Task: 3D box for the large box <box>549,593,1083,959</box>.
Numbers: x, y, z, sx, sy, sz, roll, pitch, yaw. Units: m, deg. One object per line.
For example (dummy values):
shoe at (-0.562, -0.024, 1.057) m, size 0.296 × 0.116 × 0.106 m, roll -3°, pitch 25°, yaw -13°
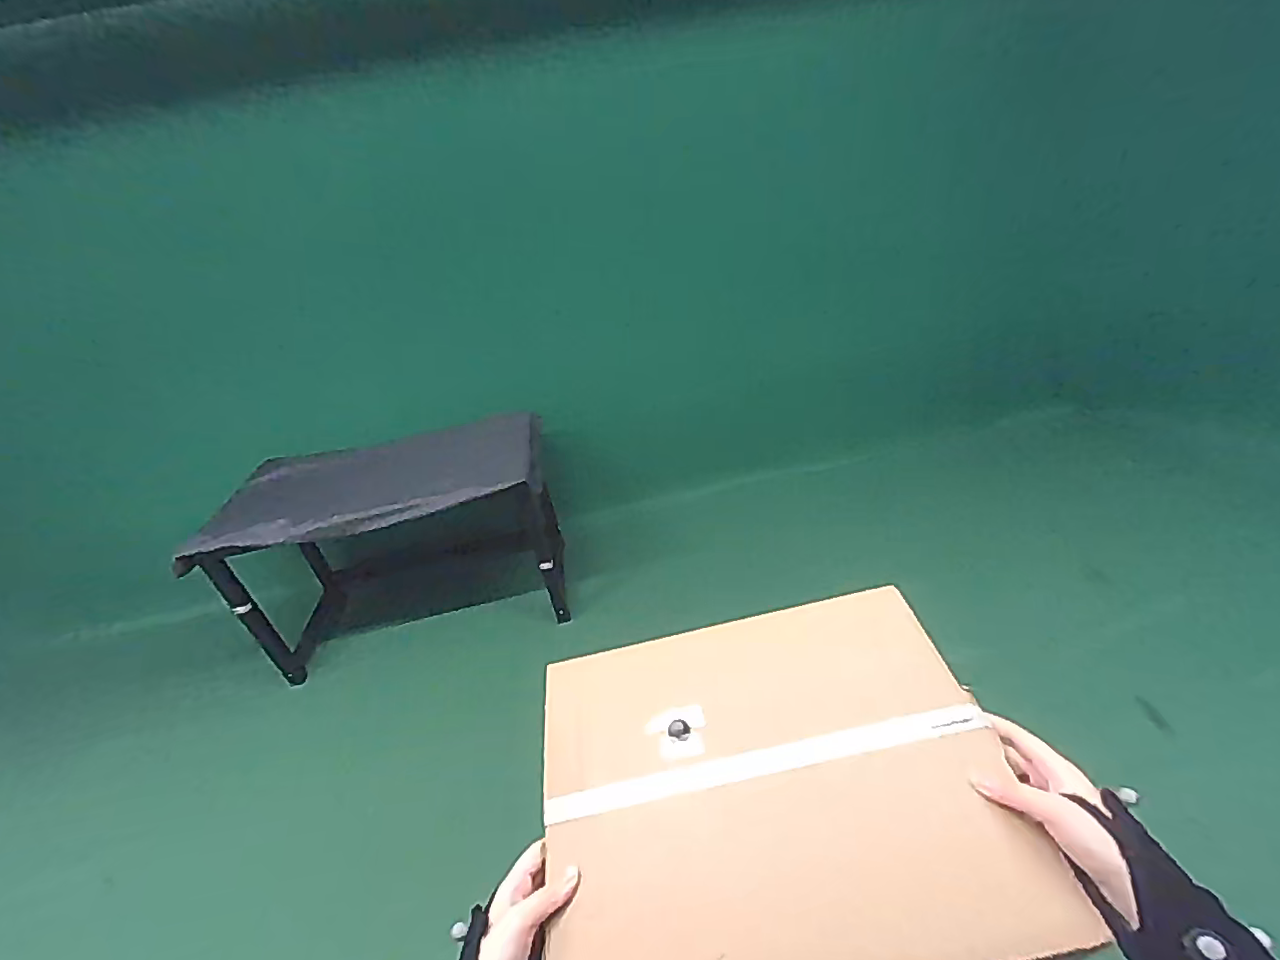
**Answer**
large box at (0.142, 0.383, 0.598) m, size 0.408 × 0.320 × 0.320 m, roll -15°, pitch 39°, yaw 3°
